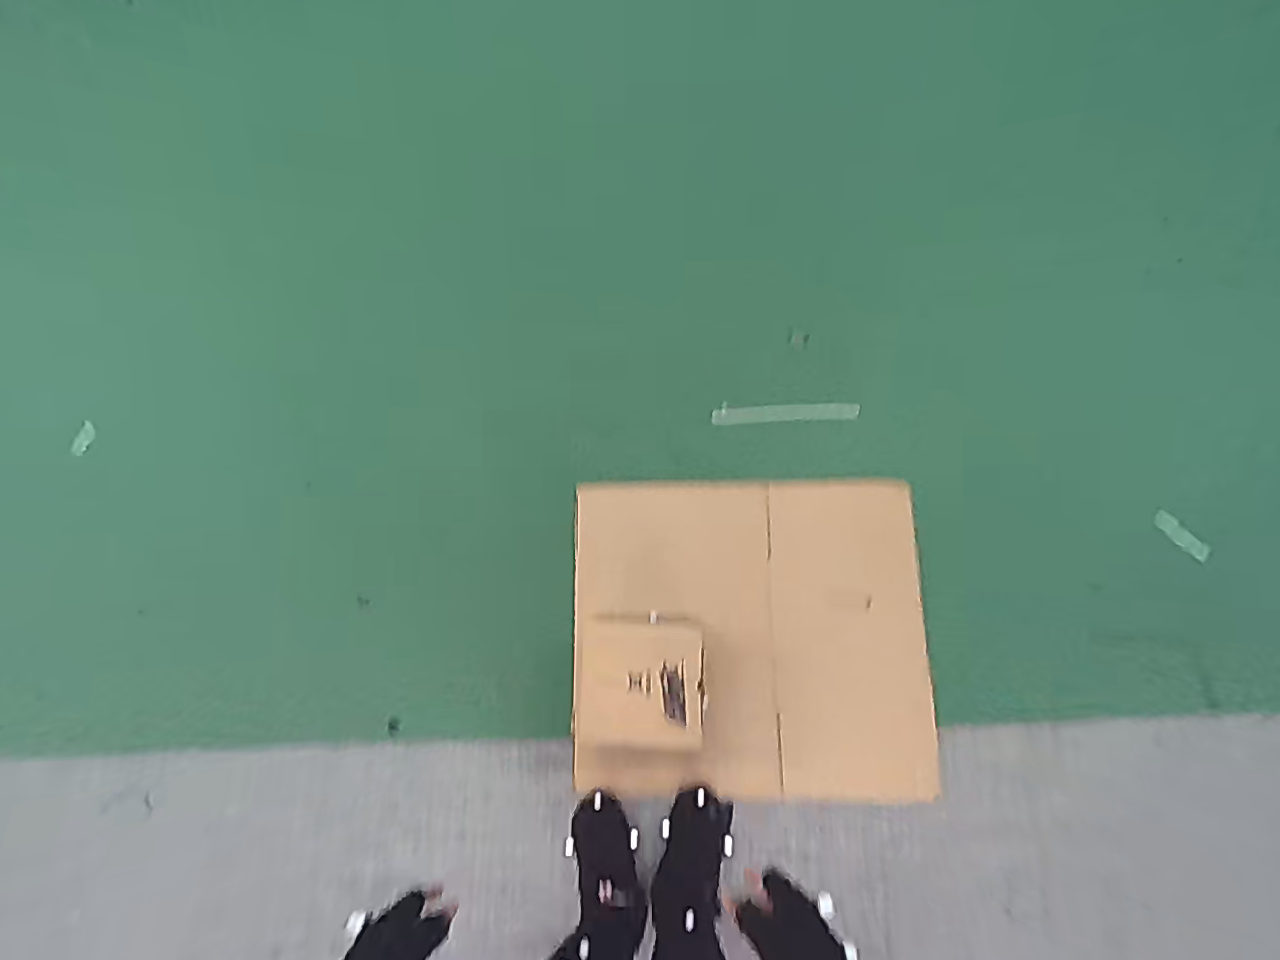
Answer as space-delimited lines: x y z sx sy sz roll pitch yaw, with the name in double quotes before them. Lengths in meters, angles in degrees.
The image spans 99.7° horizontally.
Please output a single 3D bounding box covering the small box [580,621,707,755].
"small box" 0.011 0.311 0.841 0.179 0.176 0.168 1 79 5
